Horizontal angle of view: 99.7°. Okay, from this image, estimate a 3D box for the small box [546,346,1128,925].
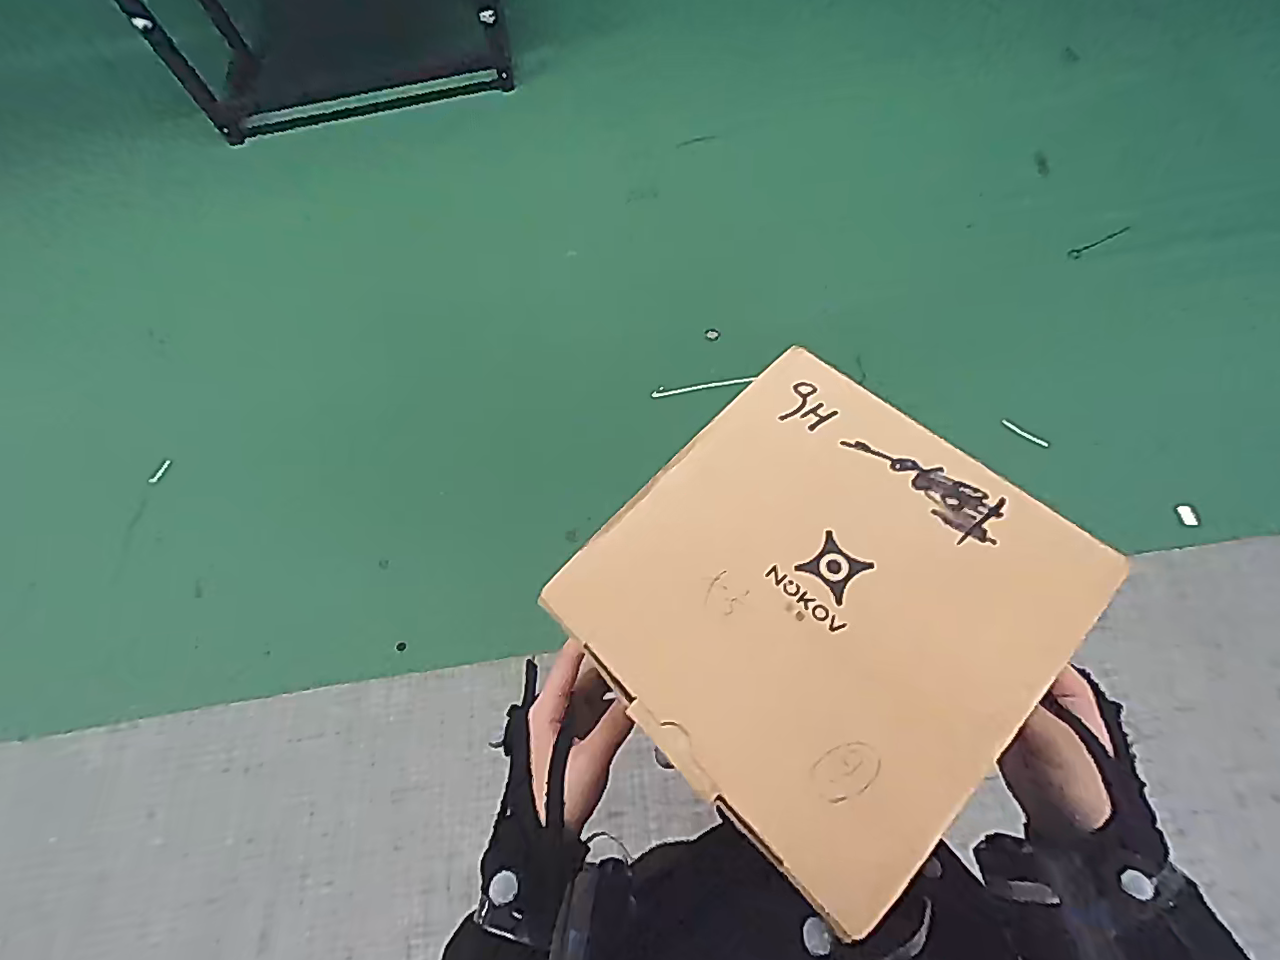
[{"bbox_3d":[0.084,0.072,0.294,0.179,0.176,0.168,-43,67,-11],"label":"small box"}]
